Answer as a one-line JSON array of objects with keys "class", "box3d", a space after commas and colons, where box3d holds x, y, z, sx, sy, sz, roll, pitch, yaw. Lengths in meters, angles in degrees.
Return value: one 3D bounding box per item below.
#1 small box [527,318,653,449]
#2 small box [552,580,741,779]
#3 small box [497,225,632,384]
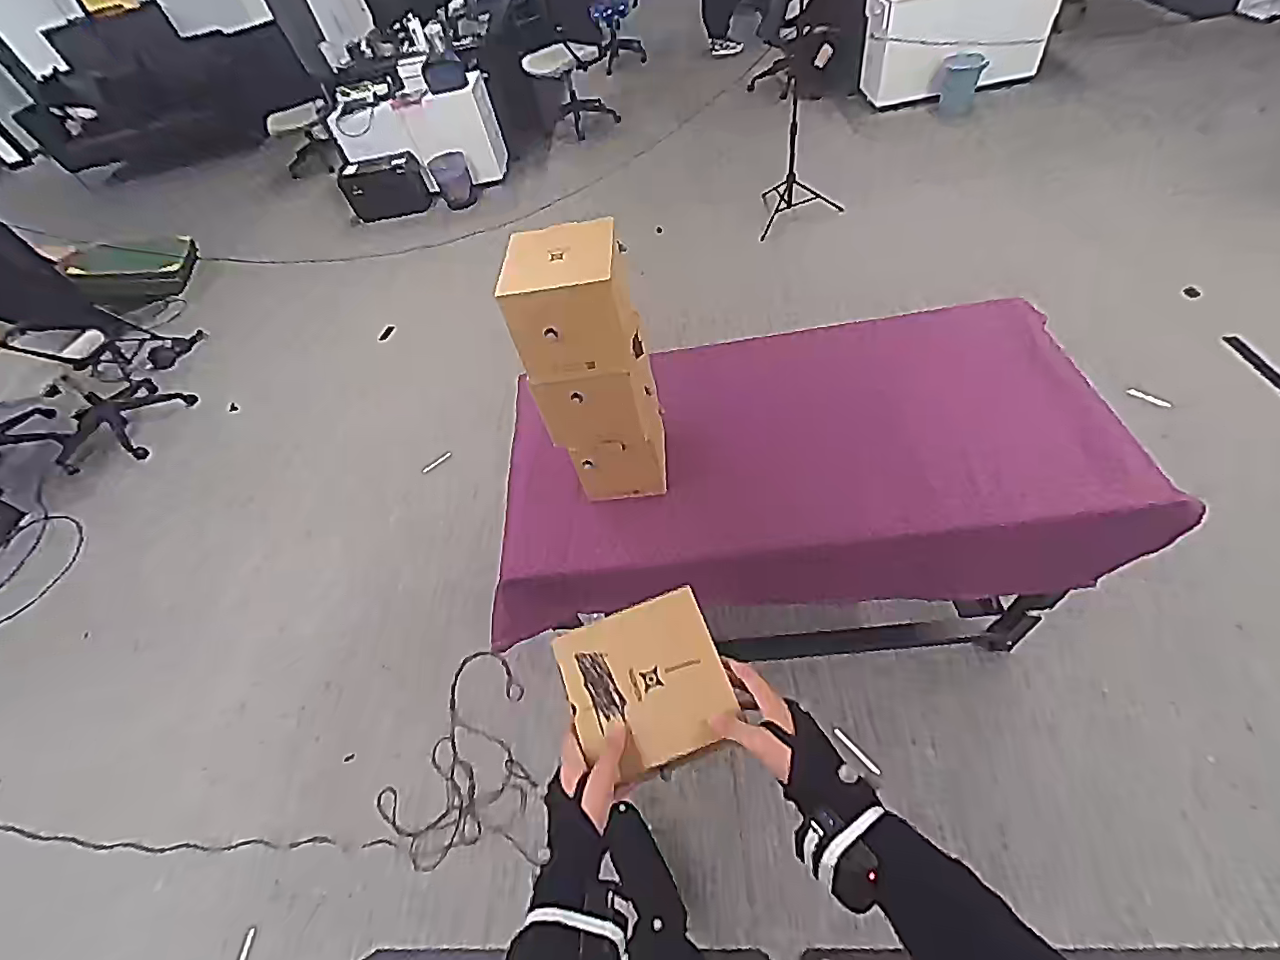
[{"class": "small box", "box3d": [-0.080, -0.169, 0.976, 0.179, 0.176, 0.168, -1, 52, 11]}, {"class": "small box", "box3d": [0.013, 0.251, 0.663, 0.179, 0.176, 0.168, -20, 59, -3]}, {"class": "small box", "box3d": [-0.106, -0.266, 0.848, 0.168, 0.176, 0.179, -7, 50, 7]}]
